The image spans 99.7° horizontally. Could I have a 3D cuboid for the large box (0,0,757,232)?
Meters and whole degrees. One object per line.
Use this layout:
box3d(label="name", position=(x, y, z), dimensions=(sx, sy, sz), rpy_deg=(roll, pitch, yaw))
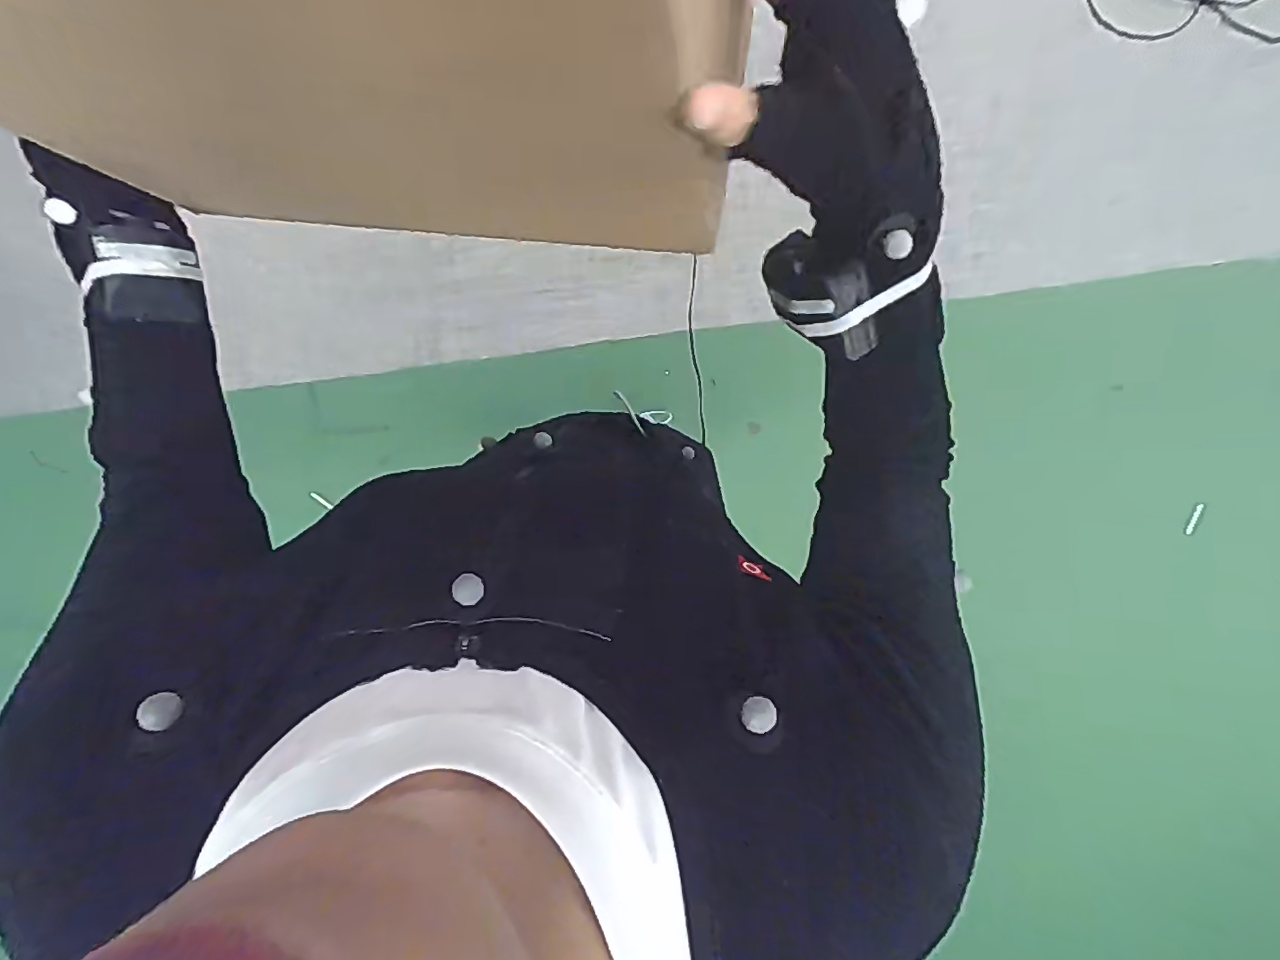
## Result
box3d(label="large box", position=(-0.147, -0.328, 0.223), dimensions=(0.408, 0.320, 0.320), rpy_deg=(10, 94, 10))
